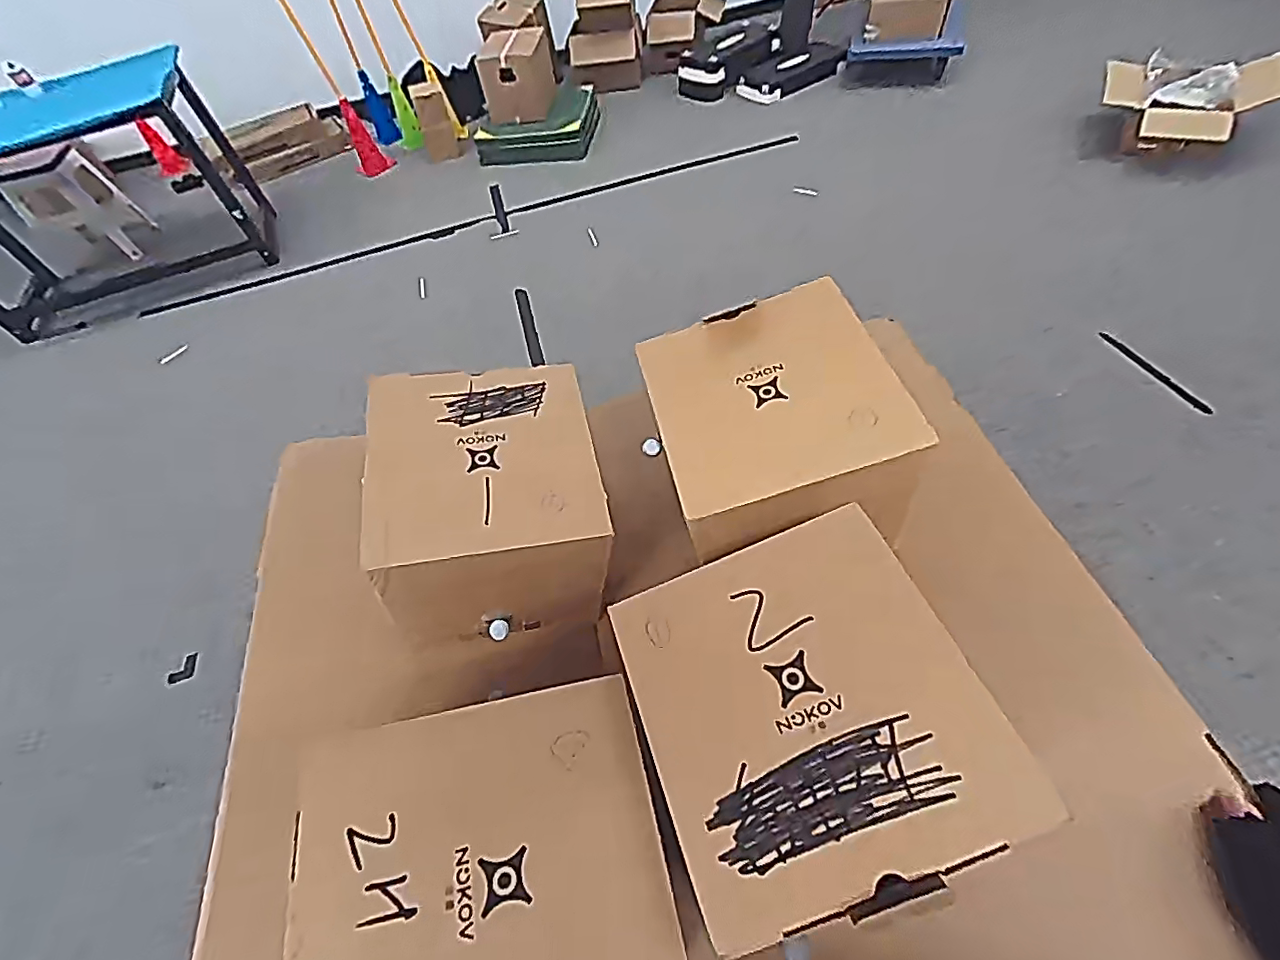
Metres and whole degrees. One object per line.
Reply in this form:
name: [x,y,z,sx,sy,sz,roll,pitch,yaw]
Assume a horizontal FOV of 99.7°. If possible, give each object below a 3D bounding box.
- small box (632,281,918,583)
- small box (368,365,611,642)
small box: [0.107,-0.027,0.463,0.168,0.176,0.179,-18,55,5]
small box: [-0.127,0.022,0.480,0.168,0.176,0.179,-7,56,-13]
